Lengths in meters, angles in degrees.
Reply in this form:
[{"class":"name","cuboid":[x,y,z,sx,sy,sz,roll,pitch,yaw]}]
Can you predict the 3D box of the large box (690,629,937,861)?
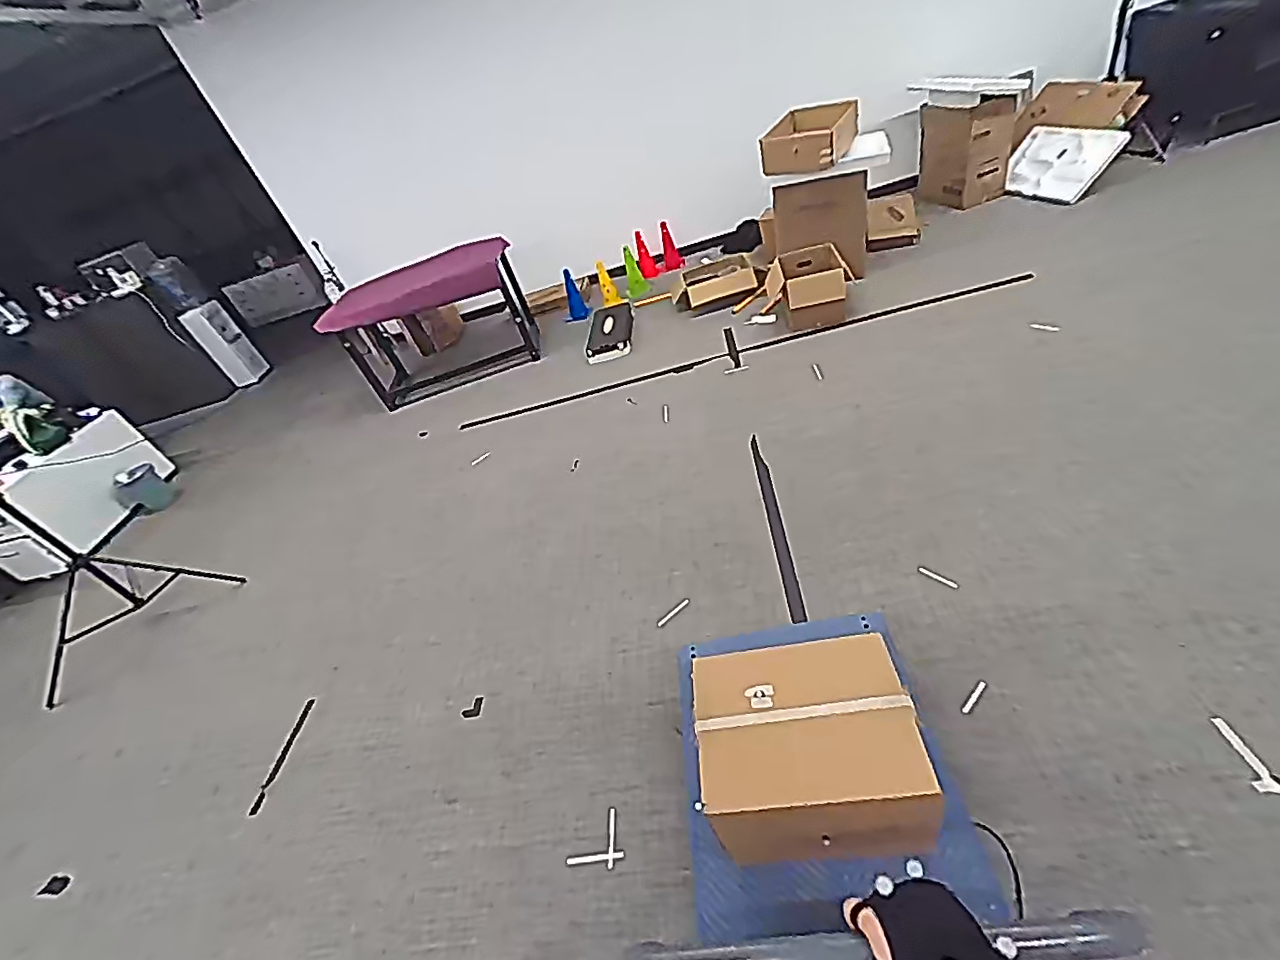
[{"class":"large box","cuboid":[0.344,0.558,1.126,0.408,0.320,0.320,-13,38,12]}]
